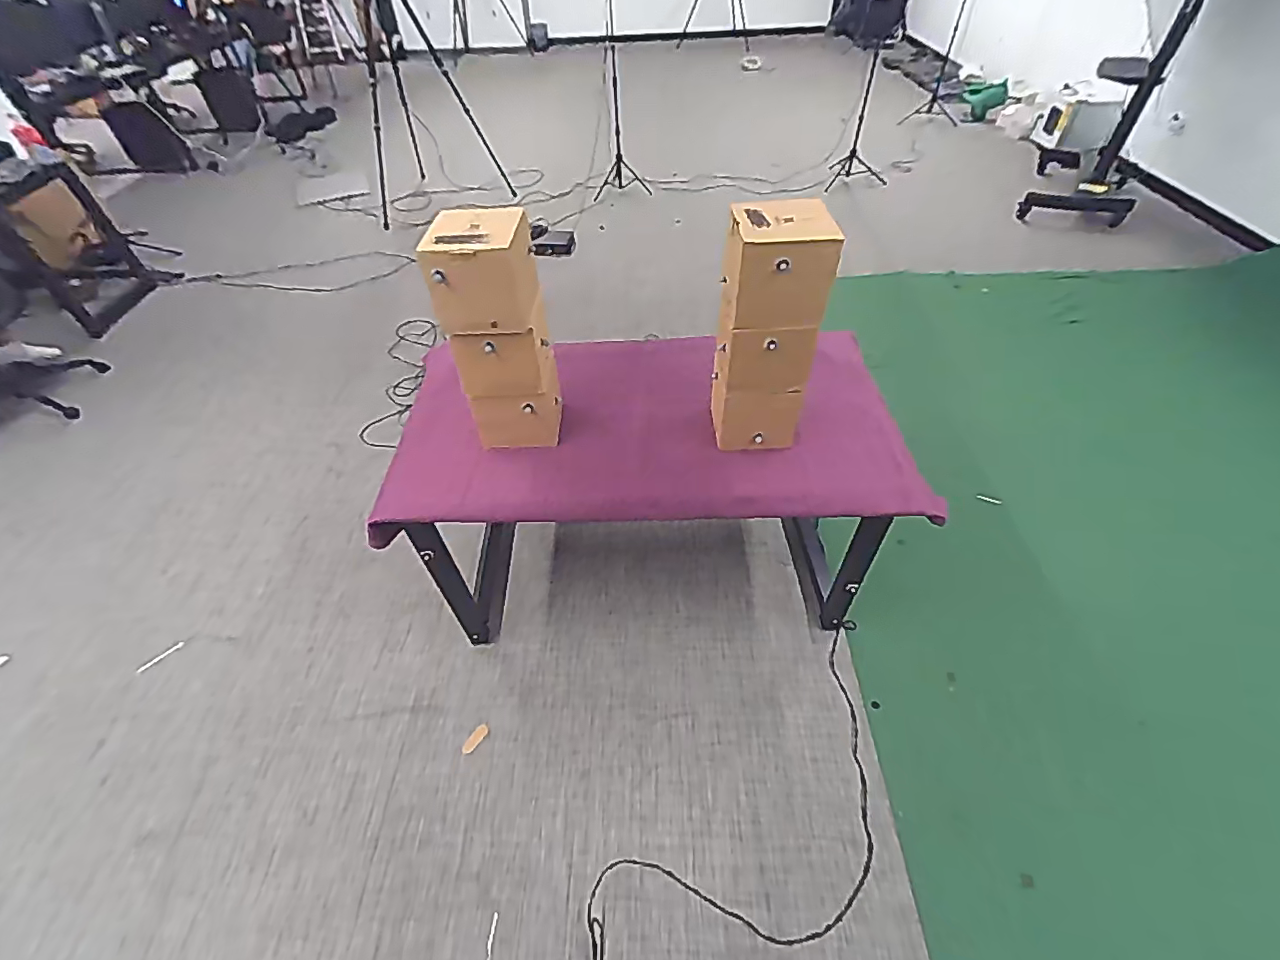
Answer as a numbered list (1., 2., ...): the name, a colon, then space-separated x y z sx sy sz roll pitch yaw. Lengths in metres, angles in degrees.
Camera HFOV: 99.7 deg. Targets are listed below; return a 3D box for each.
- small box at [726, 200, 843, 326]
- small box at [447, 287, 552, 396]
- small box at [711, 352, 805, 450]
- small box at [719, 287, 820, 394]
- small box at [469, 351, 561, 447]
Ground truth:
1. small box: 0.260 -0.406 1.024 0.179 0.176 0.168 -2 49 0
2. small box: -0.292 -0.297 1.171 0.179 0.176 0.168 -2 49 1
3. small box: 0.266 -0.185 1.266 0.179 0.176 0.168 -2 48 0
4. small box: 0.262 -0.296 1.145 0.179 0.176 0.168 -2 49 1
5. small box: -0.288 -0.192 1.294 0.179 0.176 0.168 -1 48 1
